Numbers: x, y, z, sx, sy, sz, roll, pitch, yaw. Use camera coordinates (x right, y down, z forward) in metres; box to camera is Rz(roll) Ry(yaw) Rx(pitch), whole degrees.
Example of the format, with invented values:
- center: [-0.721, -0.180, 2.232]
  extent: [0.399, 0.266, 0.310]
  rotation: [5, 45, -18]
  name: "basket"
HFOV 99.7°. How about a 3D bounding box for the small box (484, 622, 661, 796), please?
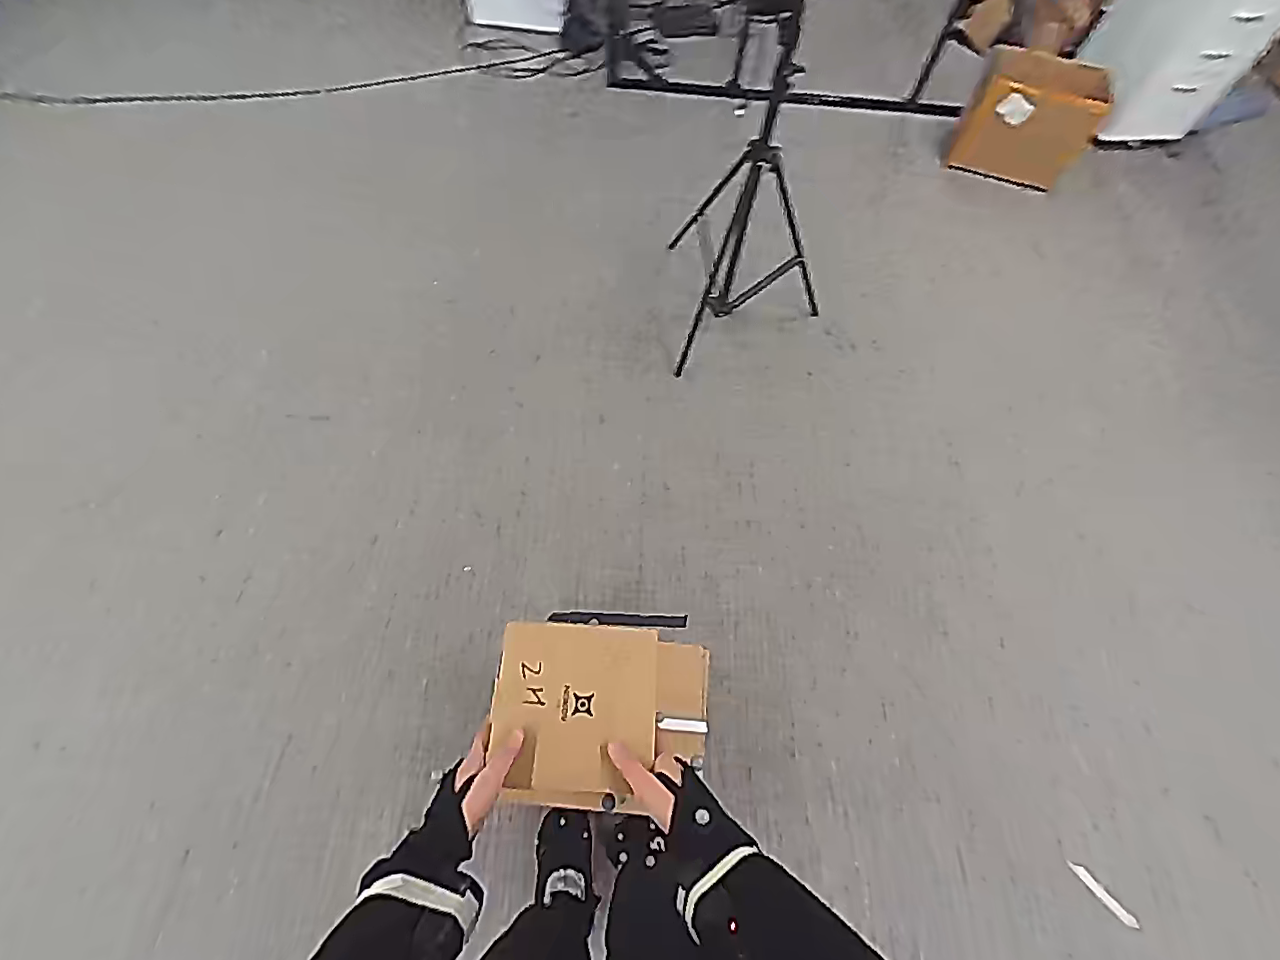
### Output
- center: [-0.071, 0.273, 0.649]
  extent: [0.179, 0.176, 0.168]
  rotation: [3, 64, -1]
  name: "small box"
